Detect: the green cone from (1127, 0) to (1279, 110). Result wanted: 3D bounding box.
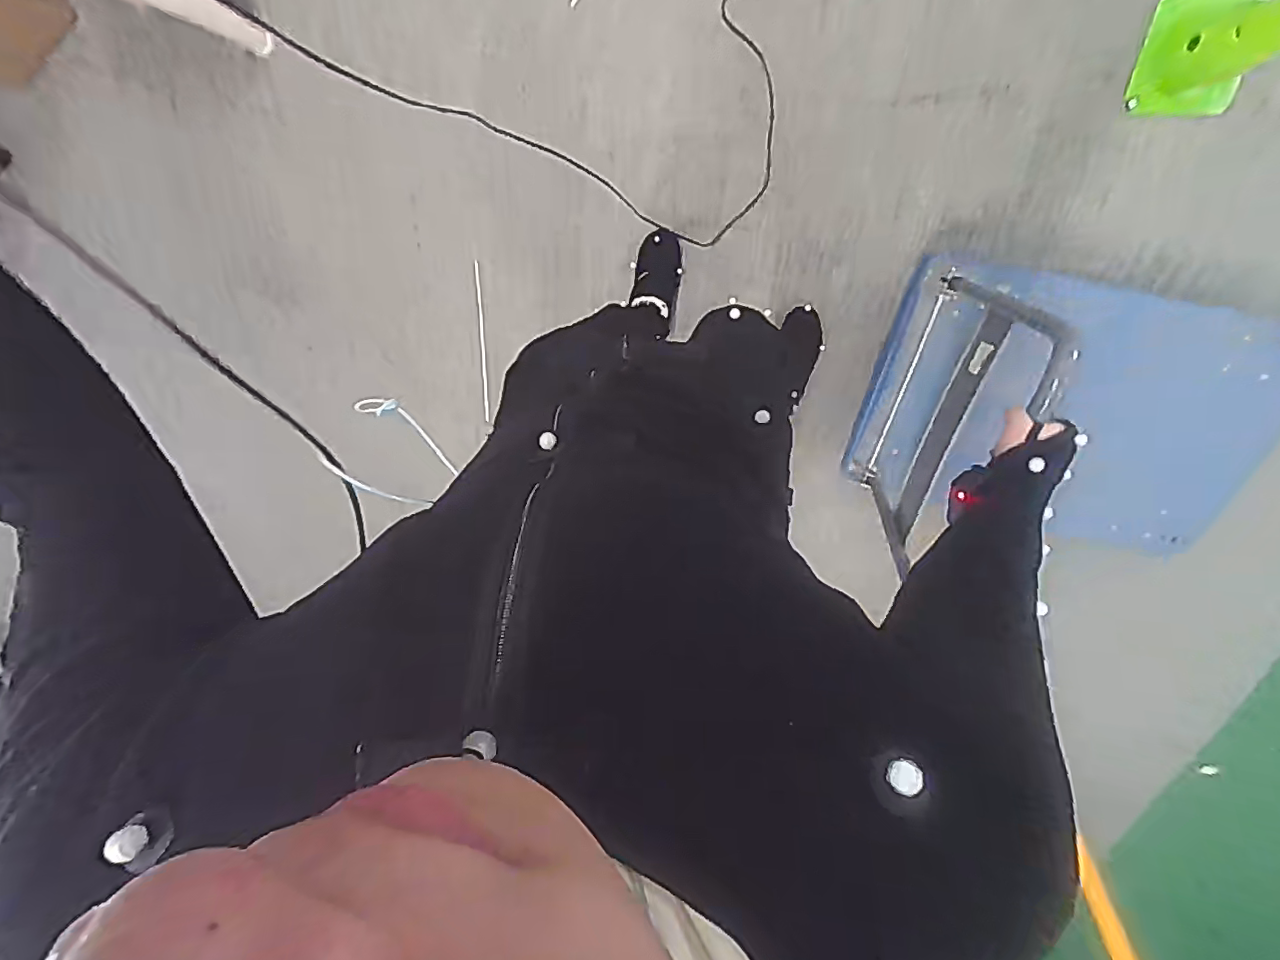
[{"bbox_3d":[1.080,-0.783,0.921,0.200,0.368,0.202,5,116,8],"label":"green cone"}]
